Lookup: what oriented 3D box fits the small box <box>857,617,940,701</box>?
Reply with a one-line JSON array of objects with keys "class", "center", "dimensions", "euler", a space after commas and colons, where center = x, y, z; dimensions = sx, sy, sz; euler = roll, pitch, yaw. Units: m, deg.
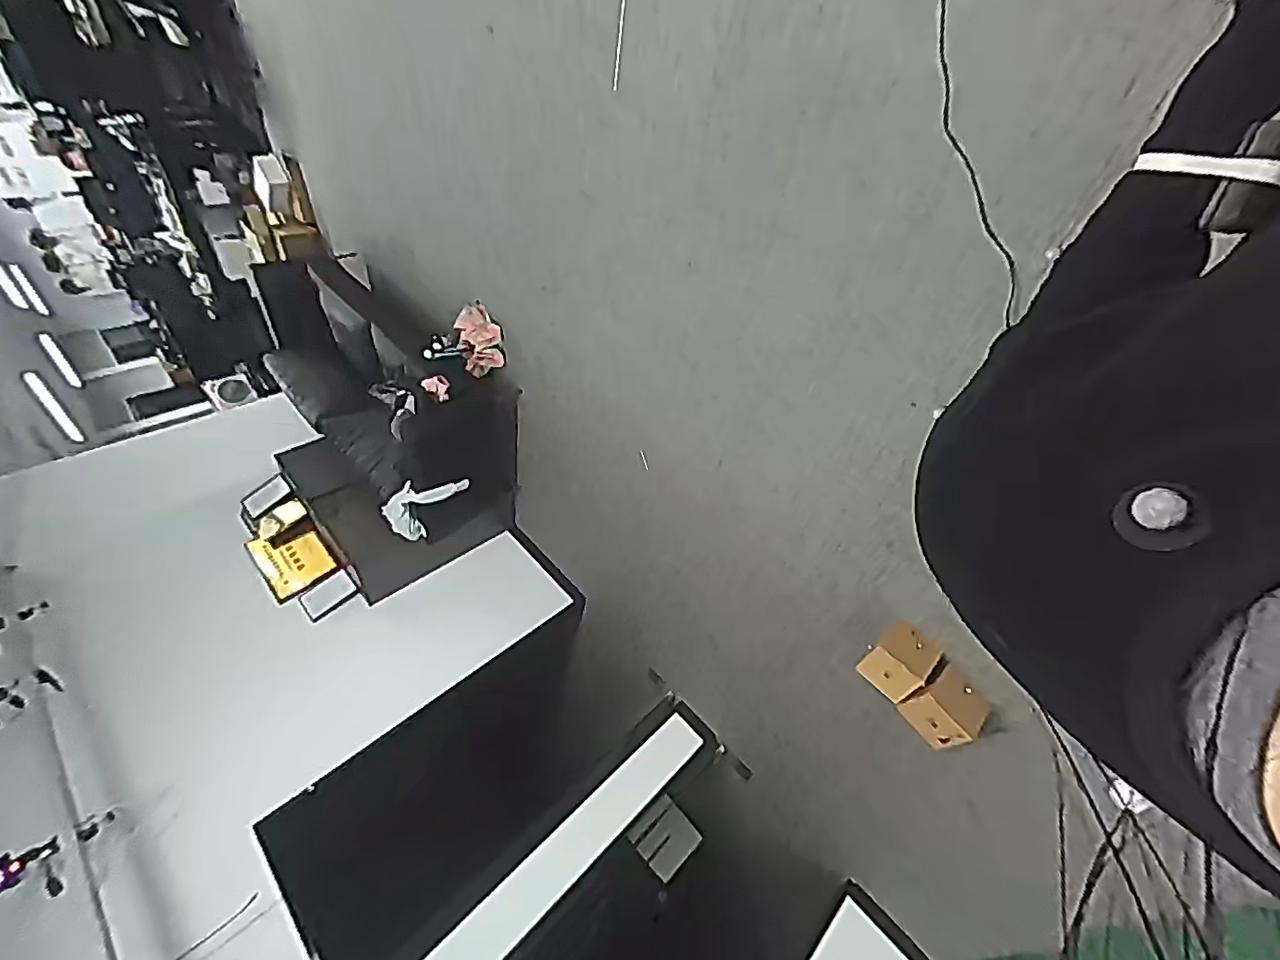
[{"class": "small box", "center": [0.882, 0.606, 1.840], "dimensions": [0.168, 0.176, 0.179], "euler": [41, 140, 25]}]
